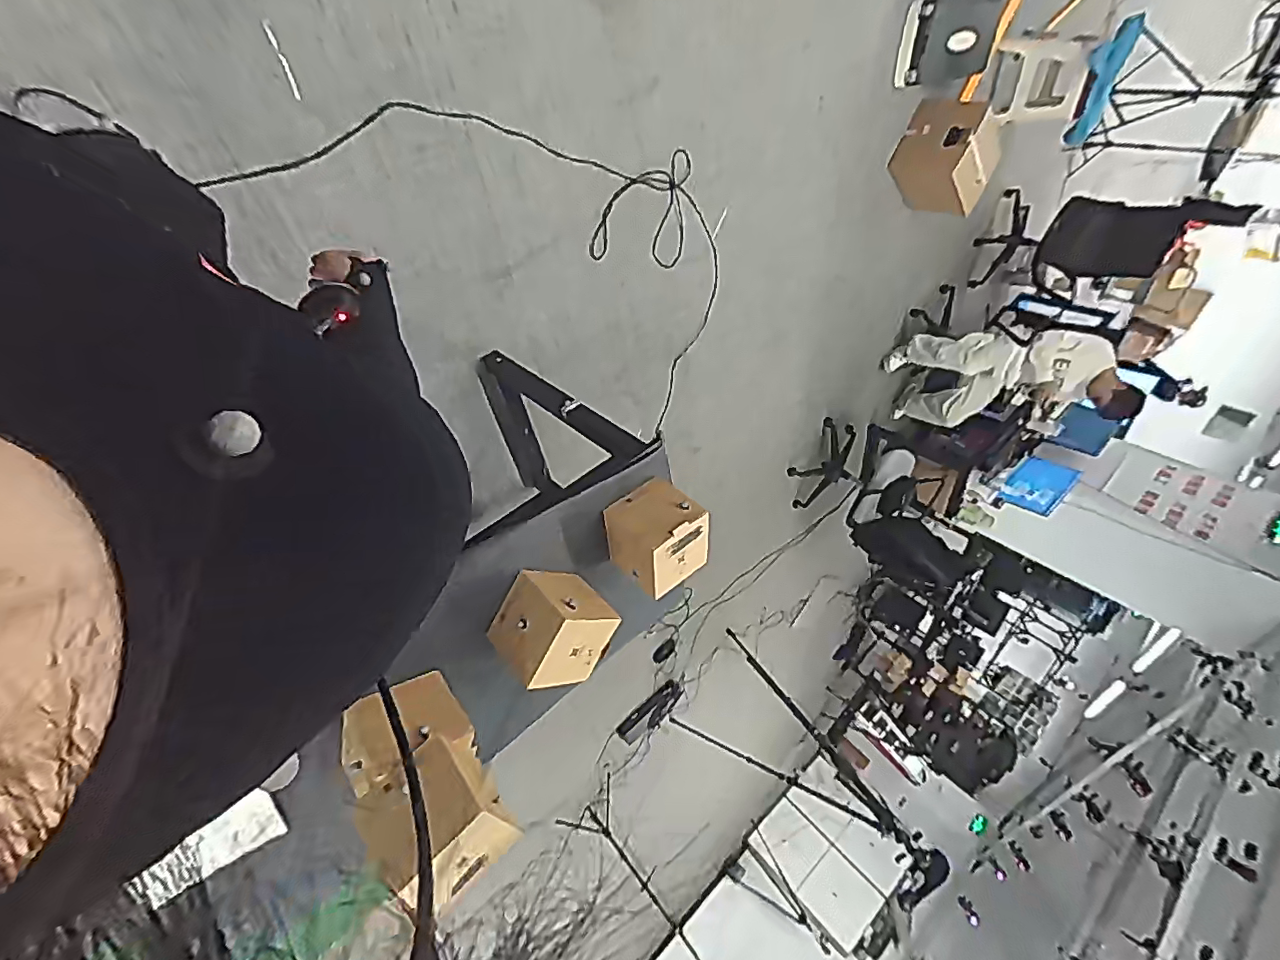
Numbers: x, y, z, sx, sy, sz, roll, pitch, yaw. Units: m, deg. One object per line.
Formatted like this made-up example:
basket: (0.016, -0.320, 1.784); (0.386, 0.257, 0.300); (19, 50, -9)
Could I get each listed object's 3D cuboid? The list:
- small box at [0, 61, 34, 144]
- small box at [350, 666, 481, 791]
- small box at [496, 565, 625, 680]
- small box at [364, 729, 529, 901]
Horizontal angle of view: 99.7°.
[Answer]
small box: (-1.024, -0.567, 0.745); (0.176, 0.168, 0.179); (105, 7, -70)
small box: (-0.426, 0.488, 1.015); (0.179, 0.176, 0.168); (-11, 125, -44)
small box: (-0.173, 0.293, 1.142); (0.179, 0.176, 0.168); (17, 105, -52)
small box: (-0.321, 0.554, 0.906); (0.168, 0.176, 0.179); (-40, 141, -21)
